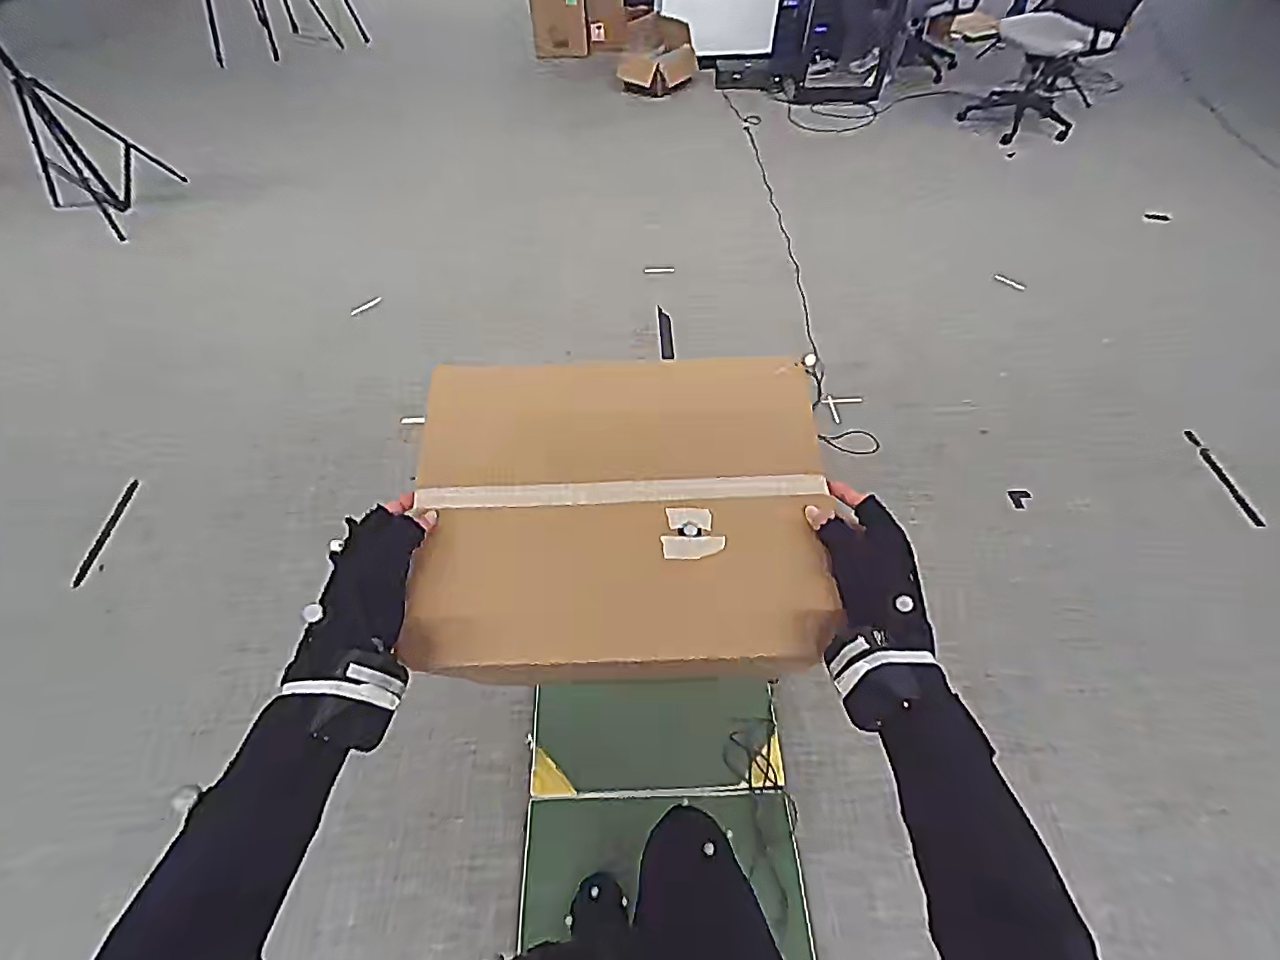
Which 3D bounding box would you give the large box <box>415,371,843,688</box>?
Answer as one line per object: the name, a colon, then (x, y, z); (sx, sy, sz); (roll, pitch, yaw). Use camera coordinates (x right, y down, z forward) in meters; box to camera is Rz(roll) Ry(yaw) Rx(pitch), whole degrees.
large box: (-0.015, 0.083, 0.691); (0.408, 0.320, 0.320); (-2, 66, 0)
